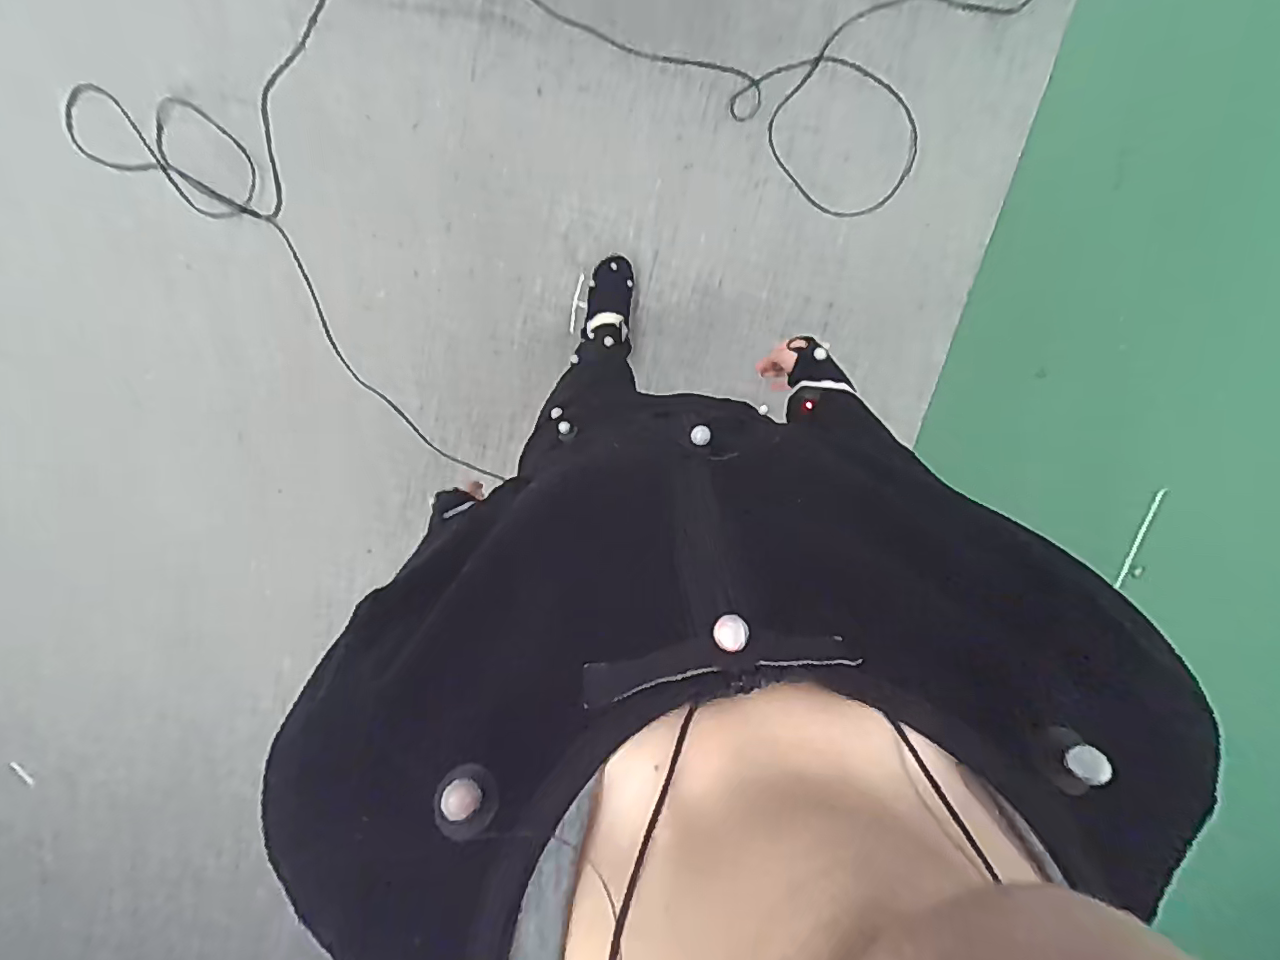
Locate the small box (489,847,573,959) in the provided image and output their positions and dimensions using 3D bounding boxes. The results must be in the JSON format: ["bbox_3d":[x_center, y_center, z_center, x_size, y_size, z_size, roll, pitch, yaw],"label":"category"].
[{"bbox_3d":[-0.278,1.116,1.416,0.168,0.176,0.179,17,101,-7],"label":"small box"}]
